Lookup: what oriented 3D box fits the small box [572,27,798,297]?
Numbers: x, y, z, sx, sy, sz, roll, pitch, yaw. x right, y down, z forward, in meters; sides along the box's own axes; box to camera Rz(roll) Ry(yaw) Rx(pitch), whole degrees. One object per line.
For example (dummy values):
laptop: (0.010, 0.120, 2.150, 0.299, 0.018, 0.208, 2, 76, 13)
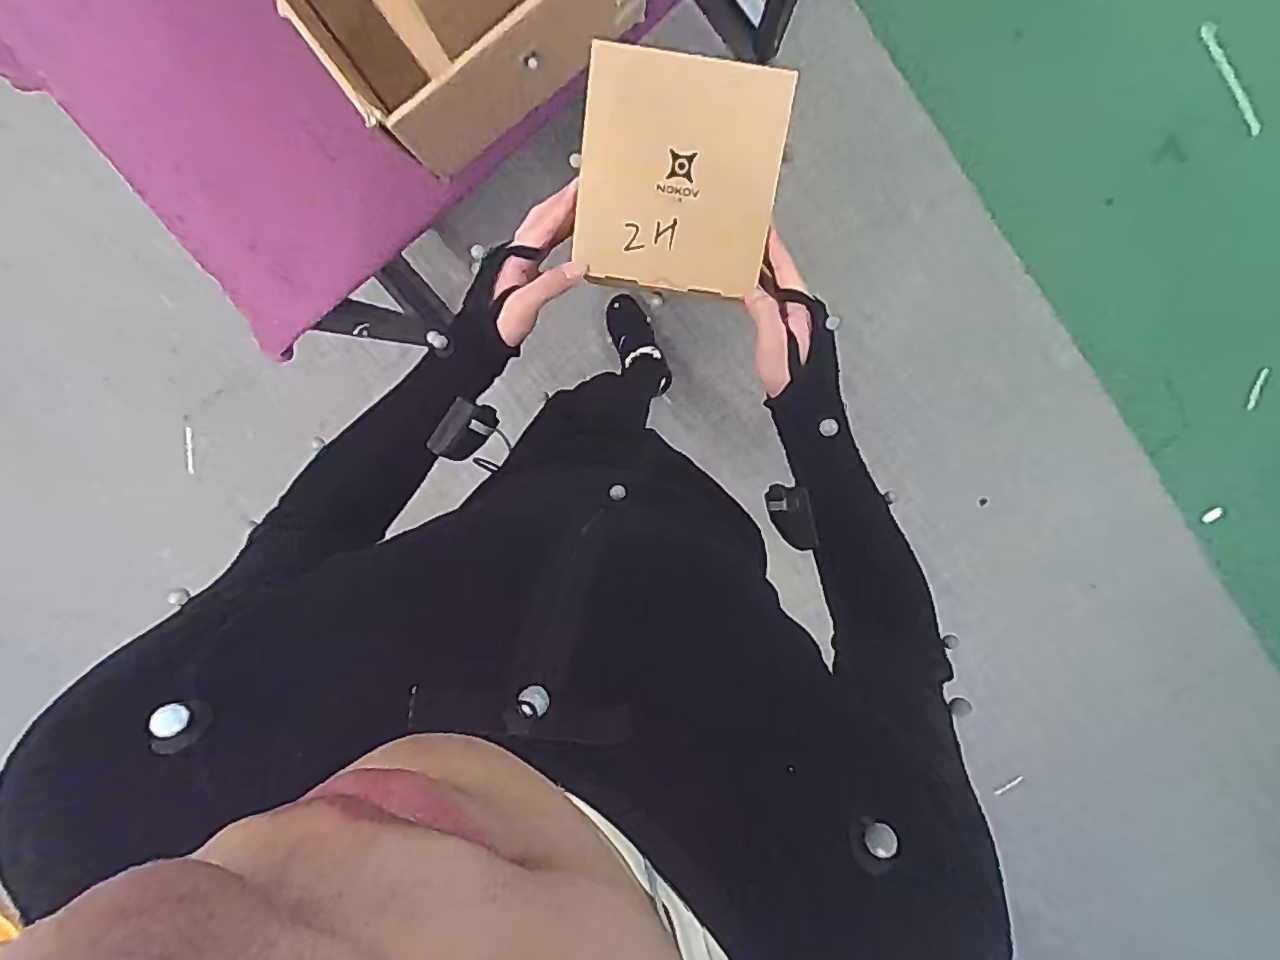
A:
small box: (0.034, -0.282, 0.522, 0.168, 0.176, 0.179, 8, 107, -1)
